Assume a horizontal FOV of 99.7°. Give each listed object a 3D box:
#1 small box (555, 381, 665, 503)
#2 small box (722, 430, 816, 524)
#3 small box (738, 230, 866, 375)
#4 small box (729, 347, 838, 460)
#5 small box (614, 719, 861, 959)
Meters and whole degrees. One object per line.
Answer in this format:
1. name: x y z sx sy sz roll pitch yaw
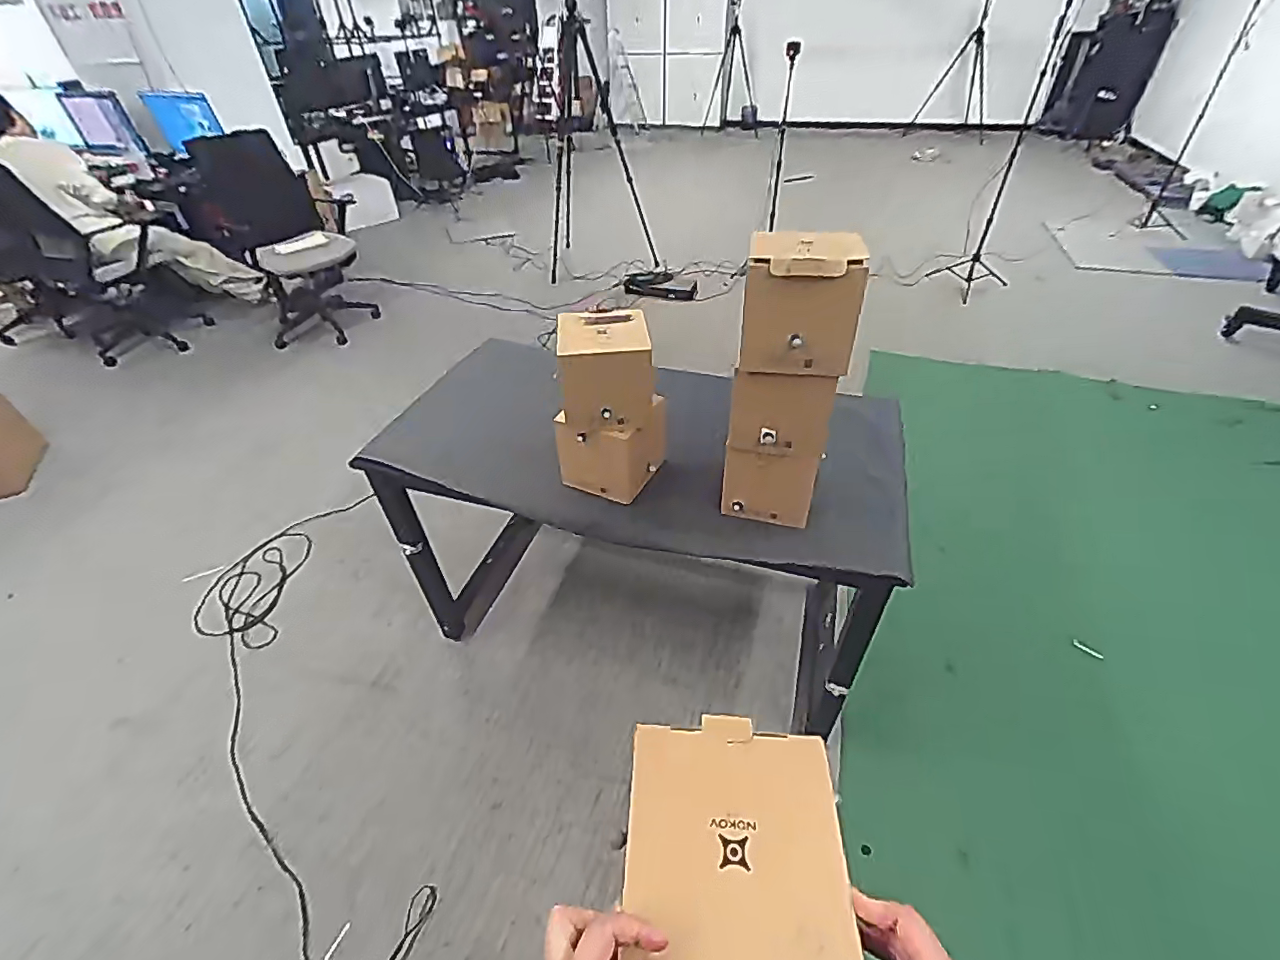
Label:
1. small box: -0.059 -0.082 1.140 0.168 0.176 0.179 17 43 21
2. small box: 0.259 -0.036 1.068 0.168 0.176 0.179 11 40 16
3. small box: 0.246 -0.283 0.852 0.168 0.176 0.179 5 39 11
4. small box: 0.252 -0.160 0.963 0.168 0.176 0.179 7 41 13
5. small box: 0.072 0.332 0.463 0.168 0.176 0.179 2 41 3
